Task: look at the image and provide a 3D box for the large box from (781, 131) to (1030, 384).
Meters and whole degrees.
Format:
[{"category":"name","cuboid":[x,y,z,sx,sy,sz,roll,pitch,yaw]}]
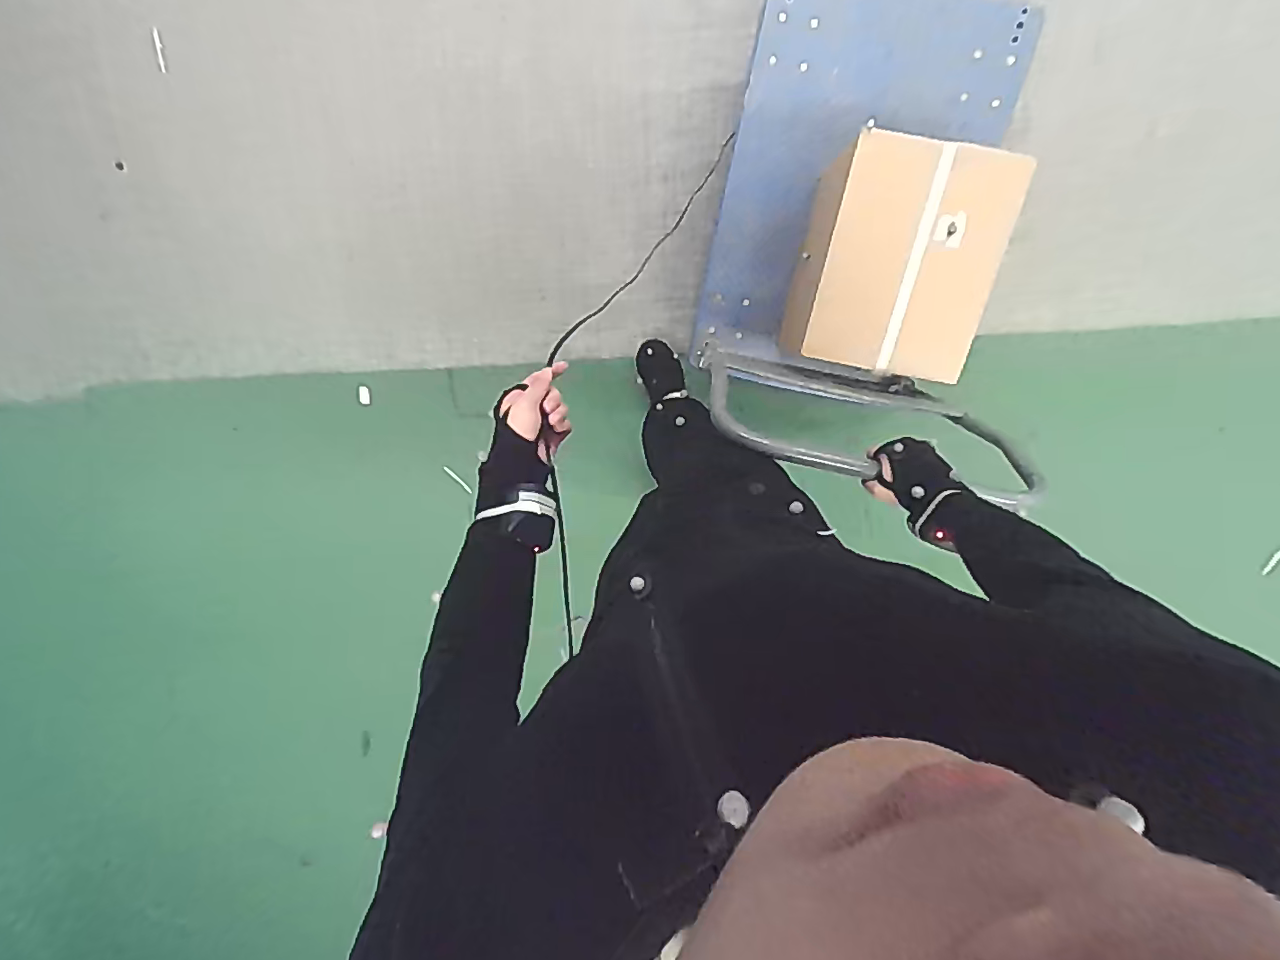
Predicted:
[{"category":"large box","cuboid":[0.515,-0.442,1.150,0.320,0.320,0.408,12,107,1]}]
